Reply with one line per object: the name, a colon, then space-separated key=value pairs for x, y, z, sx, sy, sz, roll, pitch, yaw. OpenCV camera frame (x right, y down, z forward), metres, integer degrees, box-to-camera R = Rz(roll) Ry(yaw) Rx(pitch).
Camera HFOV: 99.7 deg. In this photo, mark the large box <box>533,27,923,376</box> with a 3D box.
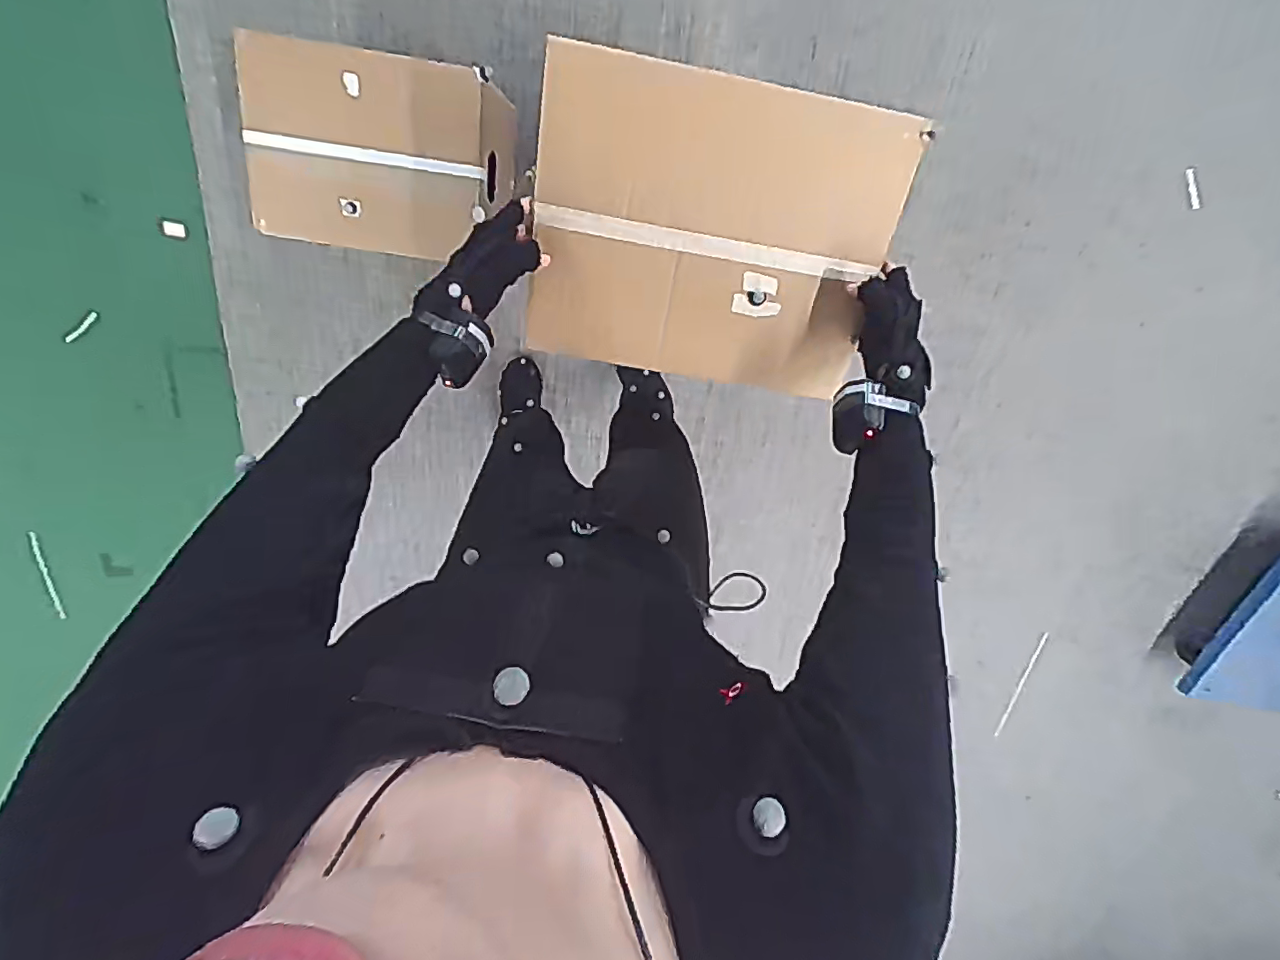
large box: x=0.078 y=-0.361 z=0.753 sx=0.408 sy=0.320 sz=0.320 roll=8 pitch=118 yaw=-6
